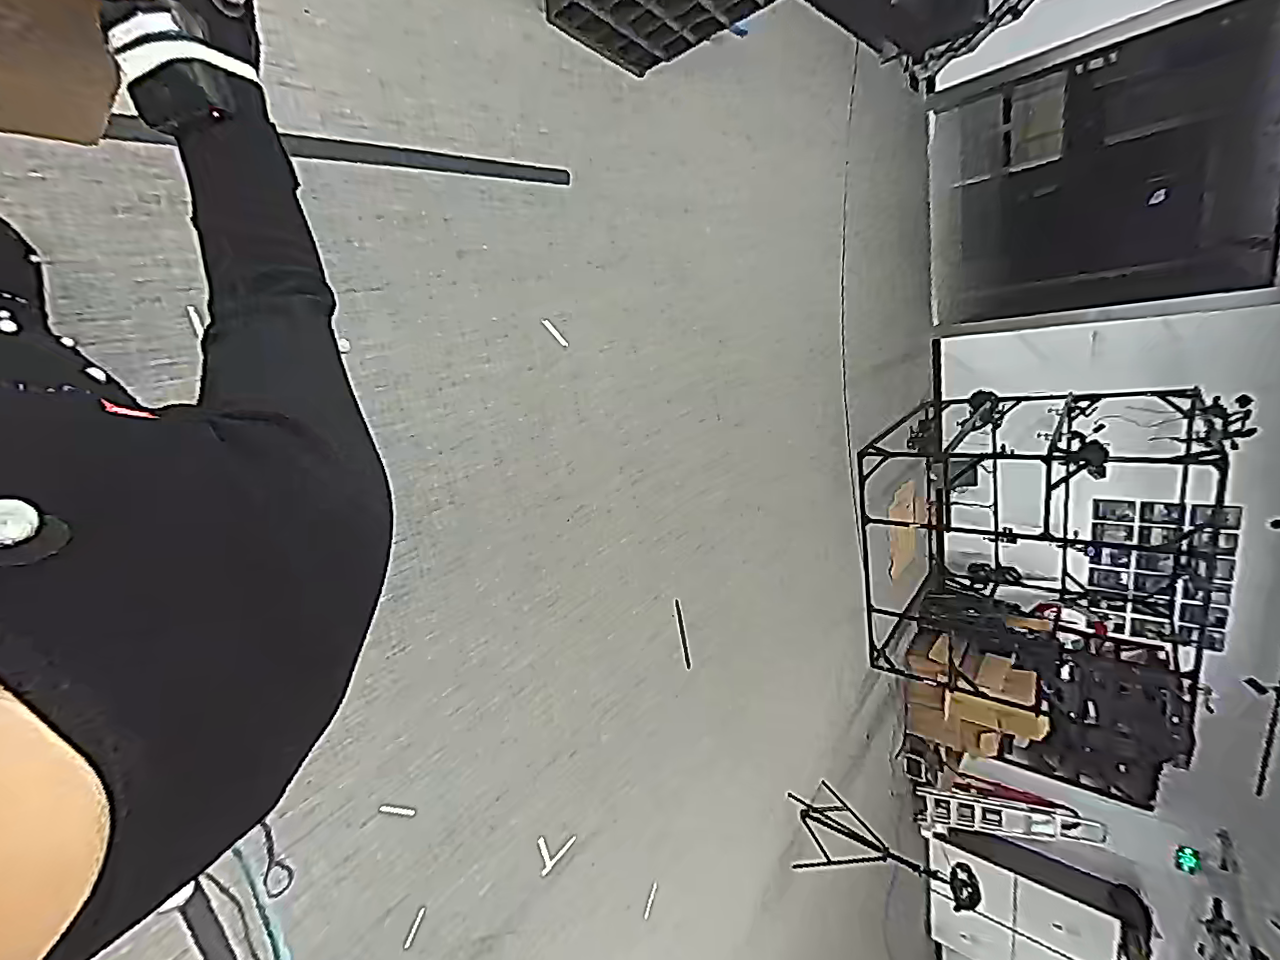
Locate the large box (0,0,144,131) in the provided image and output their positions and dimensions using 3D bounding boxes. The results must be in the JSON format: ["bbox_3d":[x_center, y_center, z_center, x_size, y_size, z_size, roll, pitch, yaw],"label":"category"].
[{"bbox_3d":[-0.587,-0.435,0.278,0.408,0.320,0.320,-21,112,-48],"label":"large box"}]
